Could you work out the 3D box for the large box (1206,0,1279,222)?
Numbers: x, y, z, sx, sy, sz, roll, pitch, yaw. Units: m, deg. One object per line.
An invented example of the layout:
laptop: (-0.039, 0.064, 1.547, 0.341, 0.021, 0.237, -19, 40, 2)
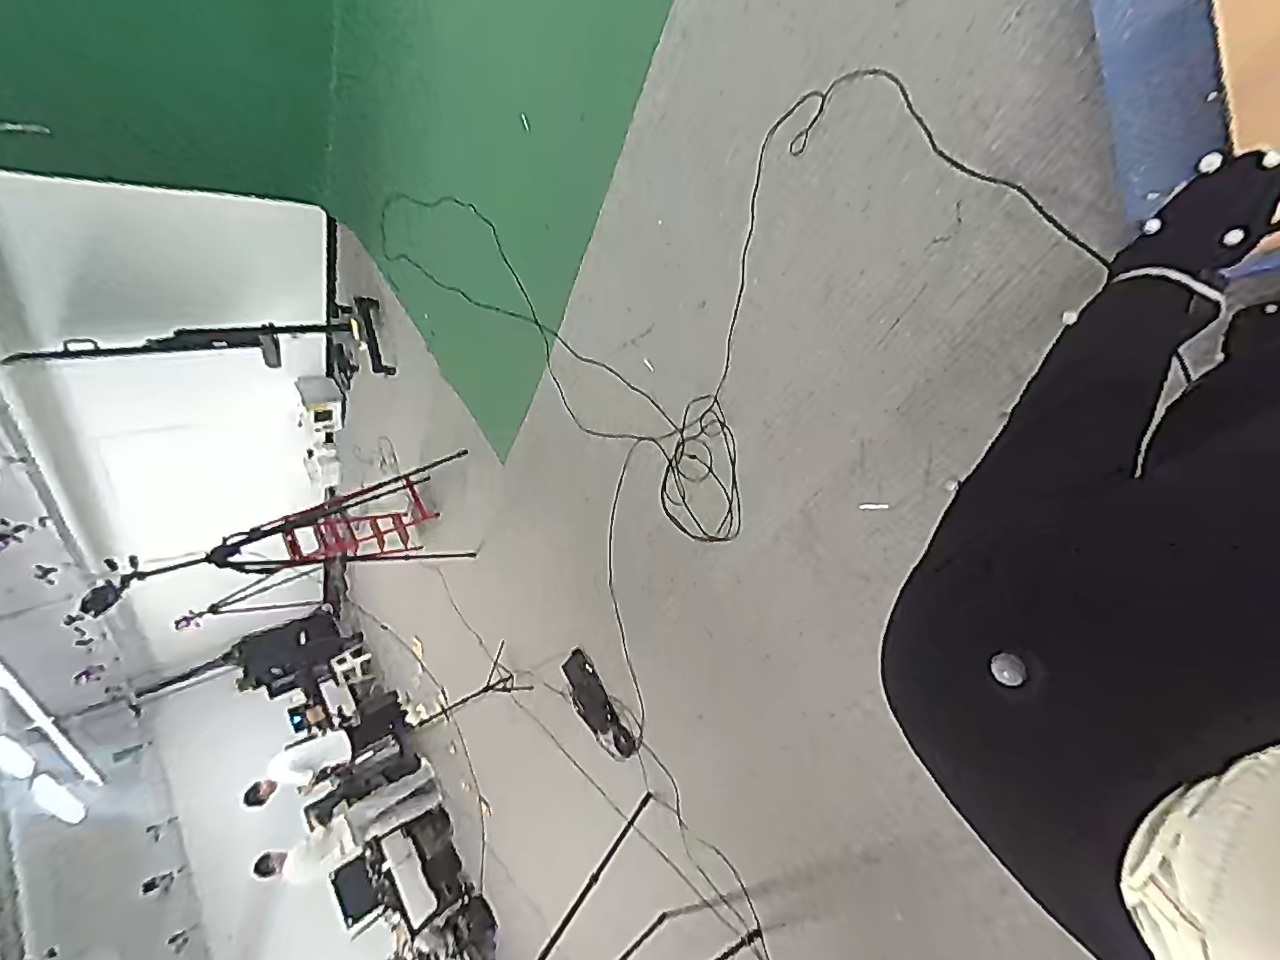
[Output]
large box: (1.018, -0.629, 0.734, 0.320, 0.320, 0.408, -8, 95, 49)
